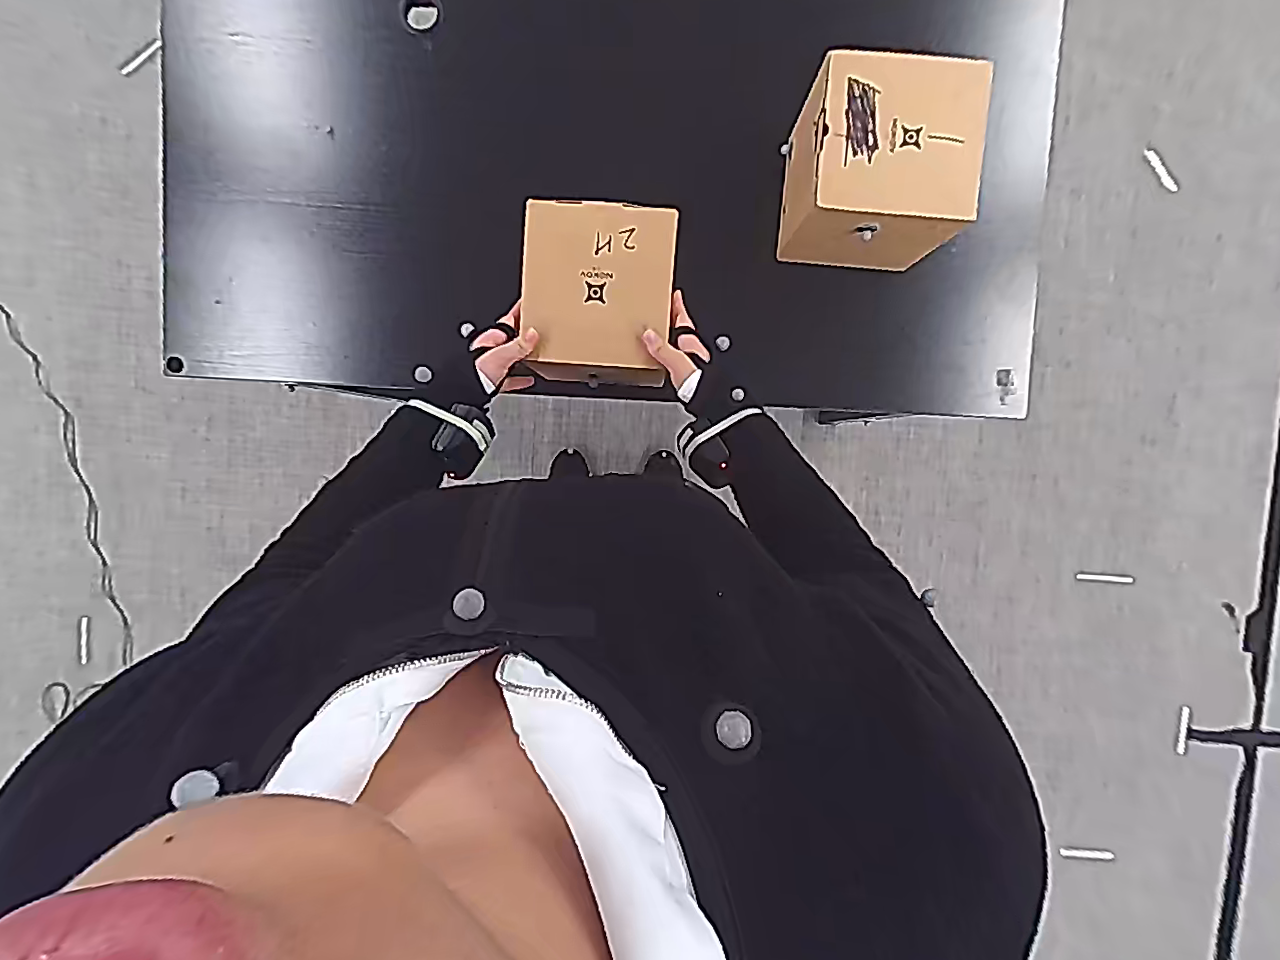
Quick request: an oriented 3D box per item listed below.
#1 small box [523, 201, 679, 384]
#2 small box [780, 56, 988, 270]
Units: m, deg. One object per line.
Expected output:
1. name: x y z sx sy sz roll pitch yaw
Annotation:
1. small box: -0.043 -0.220 0.679 0.168 0.176 0.179 4 93 0
2. small box: 0.281 -0.372 0.665 0.179 0.176 0.168 5 93 0
